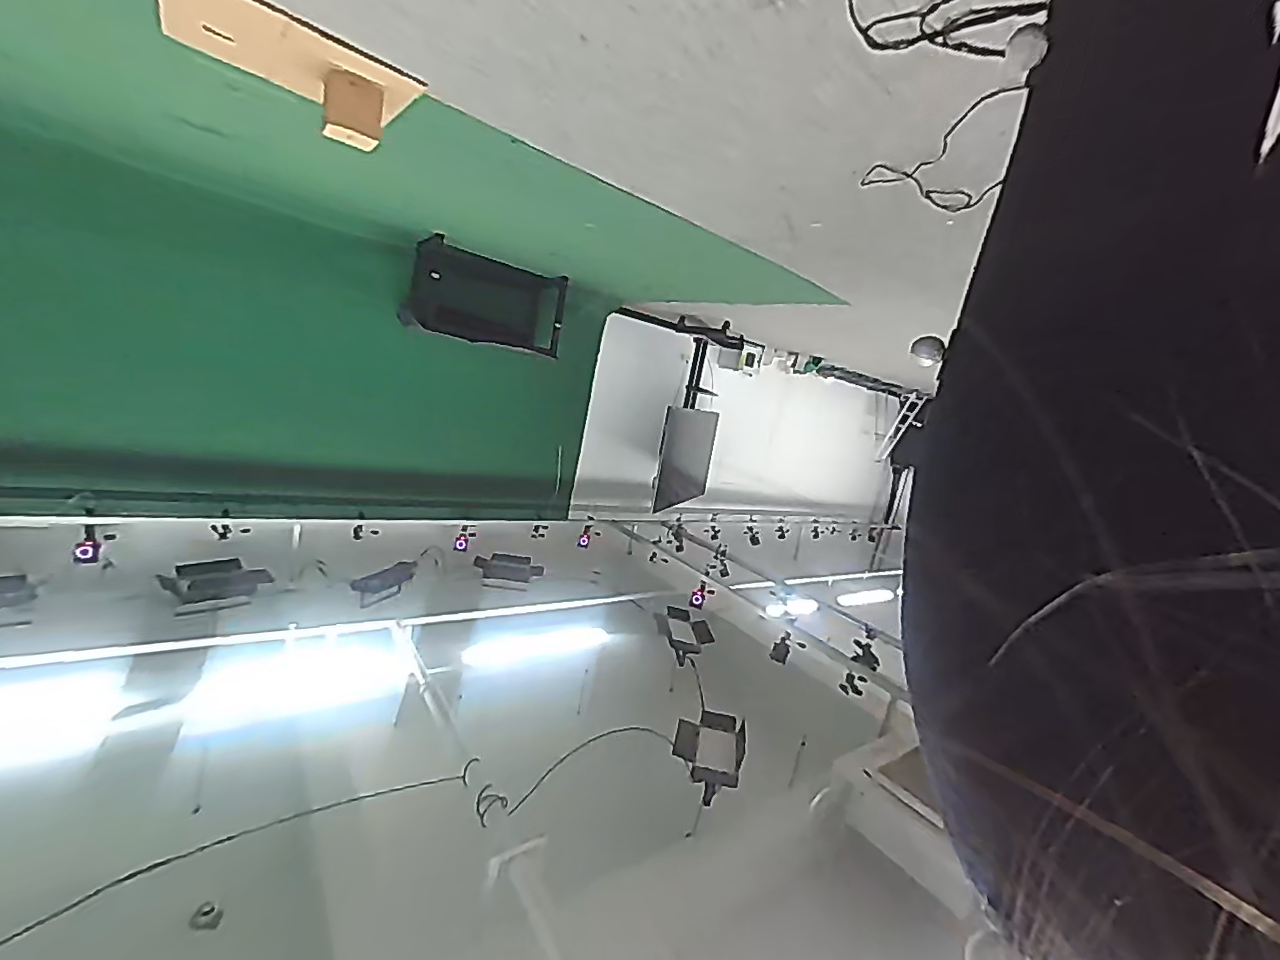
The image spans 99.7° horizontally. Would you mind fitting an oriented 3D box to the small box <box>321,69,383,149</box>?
[{"bbox_3d":[-1.039,-1.334,1.952,0.168,0.176,0.179,1,-166,-39],"label":"small box"}]
